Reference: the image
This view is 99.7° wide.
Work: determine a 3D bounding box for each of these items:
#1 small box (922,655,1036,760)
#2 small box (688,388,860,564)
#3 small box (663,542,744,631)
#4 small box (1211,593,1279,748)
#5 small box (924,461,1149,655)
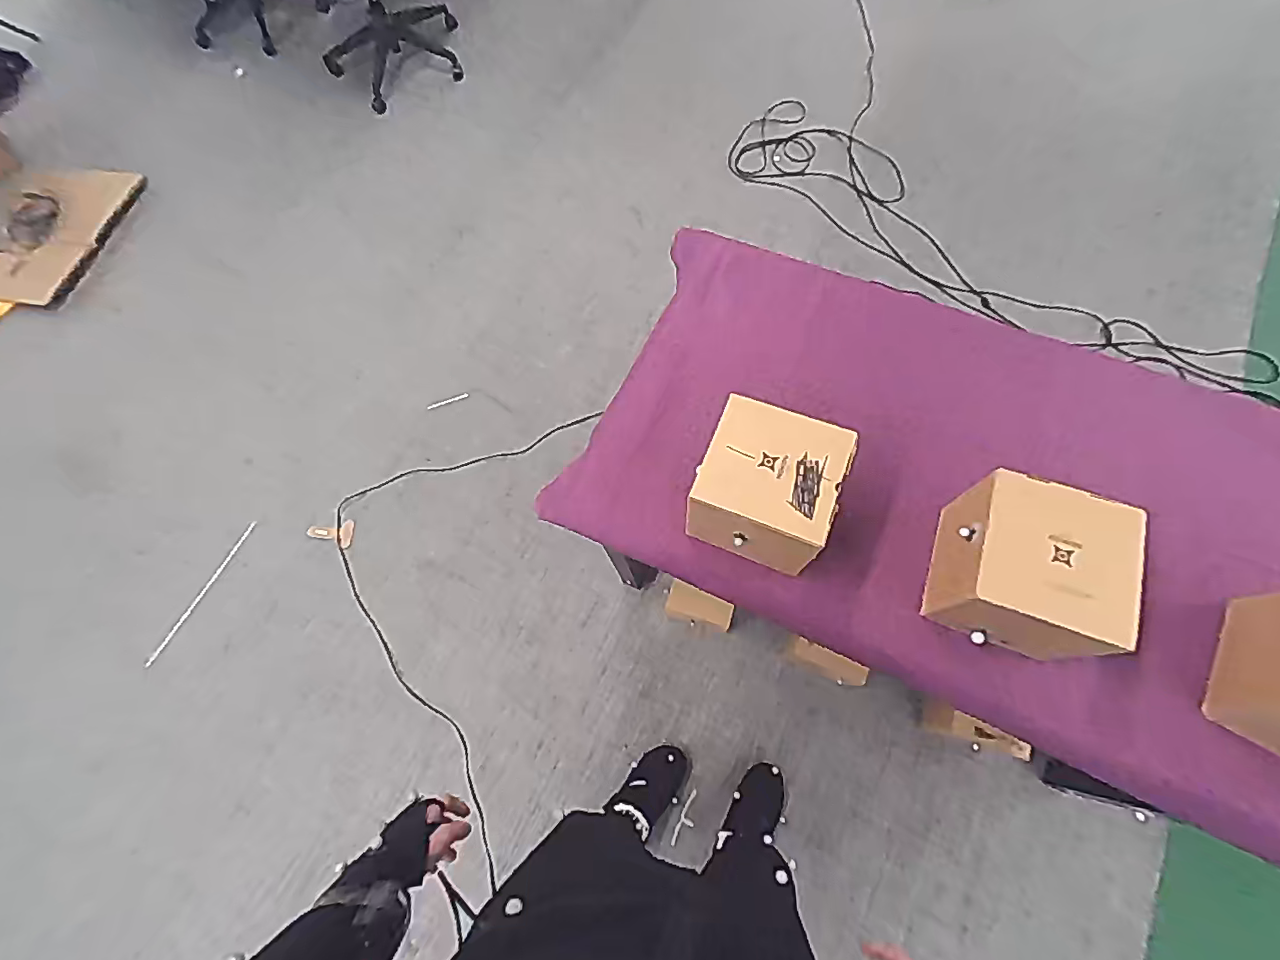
[{"bbox_3d":[0.797,0.535,1.284,0.168,0.176,0.179,18,71,11],"label":"small box"},{"bbox_3d":[0.176,0.004,0.755,0.179,0.176,0.168,21,70,12],"label":"small box"},{"bbox_3d":[0.168,0.287,1.428,0.168,0.176,0.179,16,71,10],"label":"small box"},{"bbox_3d":[0.826,0.239,0.618,0.168,0.176,0.179,30,72,15],"label":"small box"},{"bbox_3d":[0.493,0.107,0.694,0.168,0.176,0.179,20,71,12],"label":"small box"}]
